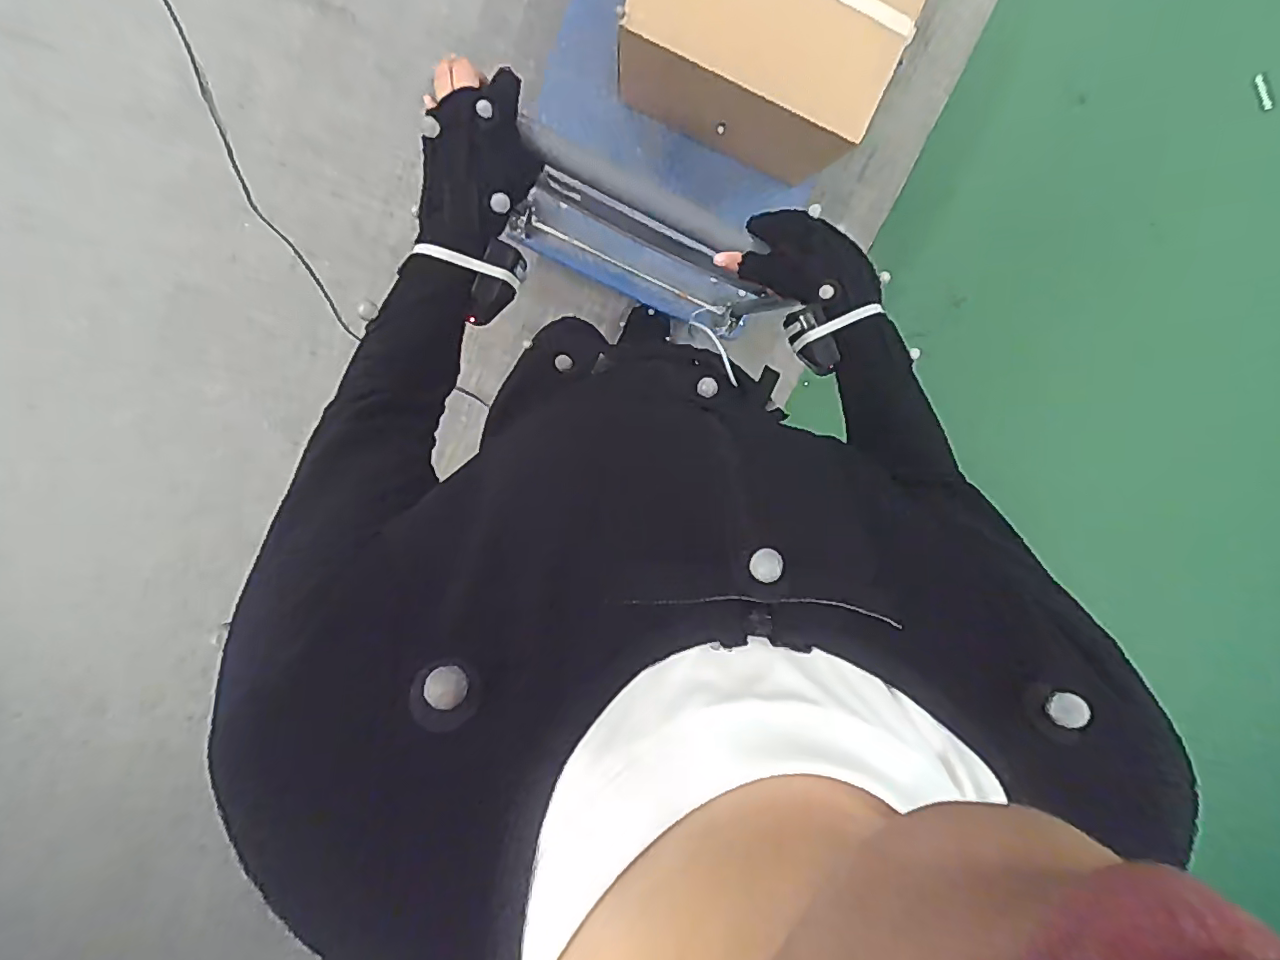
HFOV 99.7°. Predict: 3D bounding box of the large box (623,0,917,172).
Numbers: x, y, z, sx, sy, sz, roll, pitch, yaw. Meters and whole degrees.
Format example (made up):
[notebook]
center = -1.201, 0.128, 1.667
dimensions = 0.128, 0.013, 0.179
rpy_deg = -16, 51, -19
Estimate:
[large box]
center = 0.212, -0.788, 0.923
dimensions = 0.408, 0.320, 0.320
rpy_deg = 20, 106, -7
